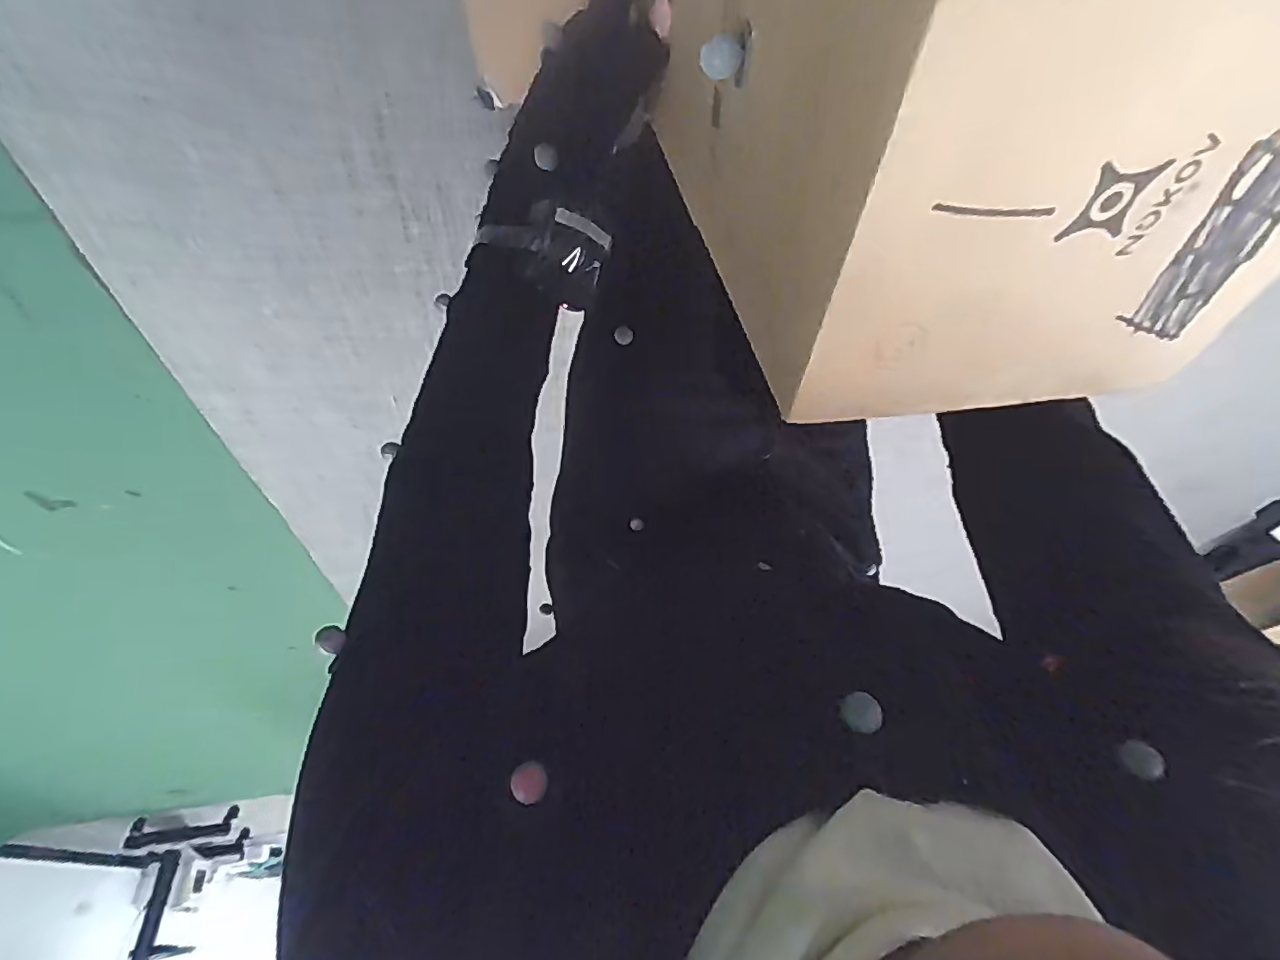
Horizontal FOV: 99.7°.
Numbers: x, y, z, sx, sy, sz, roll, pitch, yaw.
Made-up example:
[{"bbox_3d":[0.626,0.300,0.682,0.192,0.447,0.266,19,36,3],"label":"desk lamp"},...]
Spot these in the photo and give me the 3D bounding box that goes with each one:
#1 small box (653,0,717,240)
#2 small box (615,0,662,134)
[{"bbox_3d":[0.102,-0.265,0.307,0.168,0.176,0.179,-6,144,-6],"label":"small box"},{"bbox_3d":[0.074,-0.389,0.412,0.179,0.176,0.168,-7,143,-6],"label":"small box"}]
